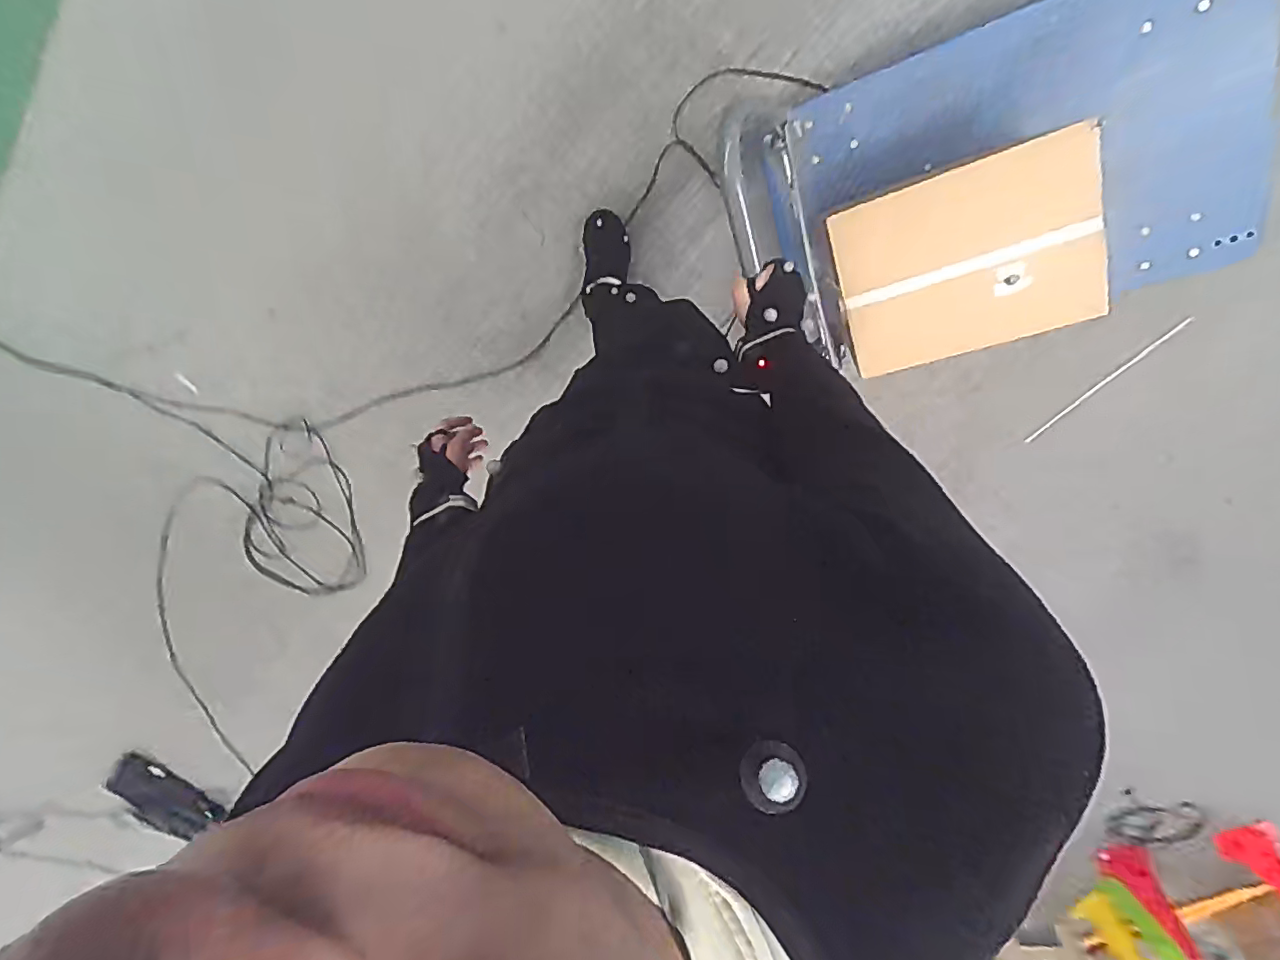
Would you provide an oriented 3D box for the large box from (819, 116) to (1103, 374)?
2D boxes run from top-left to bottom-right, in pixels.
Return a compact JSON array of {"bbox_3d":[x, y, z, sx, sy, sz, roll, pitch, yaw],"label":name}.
[{"bbox_3d":[0.604,-0.450,1.083,0.408,0.320,0.320,-13,113,21],"label":"large box"}]
